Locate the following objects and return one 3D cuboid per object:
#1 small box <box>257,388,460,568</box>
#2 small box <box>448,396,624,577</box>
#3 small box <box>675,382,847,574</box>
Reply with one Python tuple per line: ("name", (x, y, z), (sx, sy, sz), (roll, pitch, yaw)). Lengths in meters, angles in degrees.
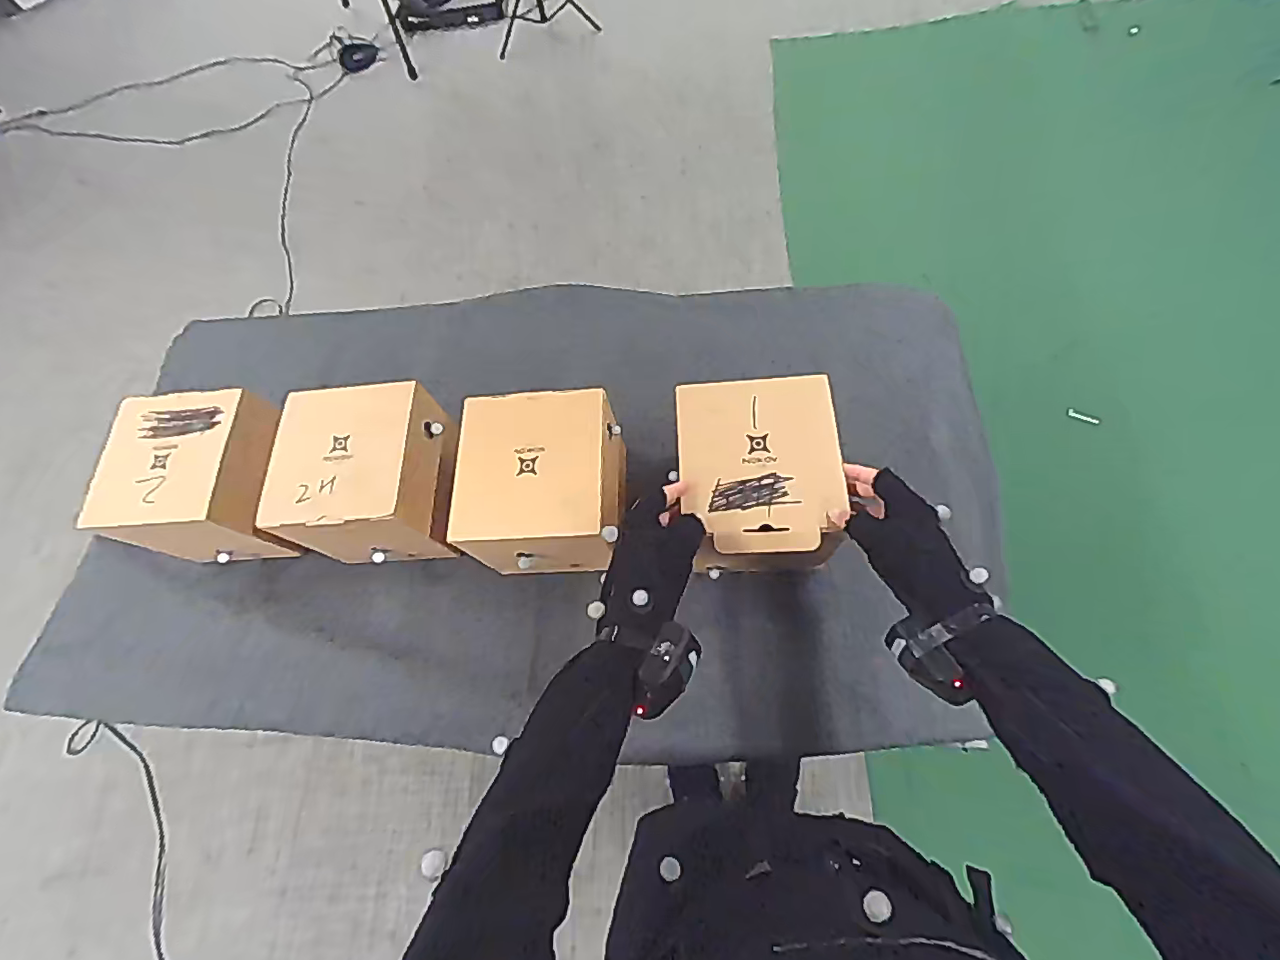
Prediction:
("small box", (-0.333, 0.004, 0.693), (0.168, 0.176, 0.179), (-4, 67, 6))
("small box", (-0.111, 0.019, 0.661), (0.168, 0.176, 0.179), (-3, 66, 6))
("small box", (0.130, 0.010, 0.630), (0.168, 0.176, 0.179), (-3, 66, 6))
